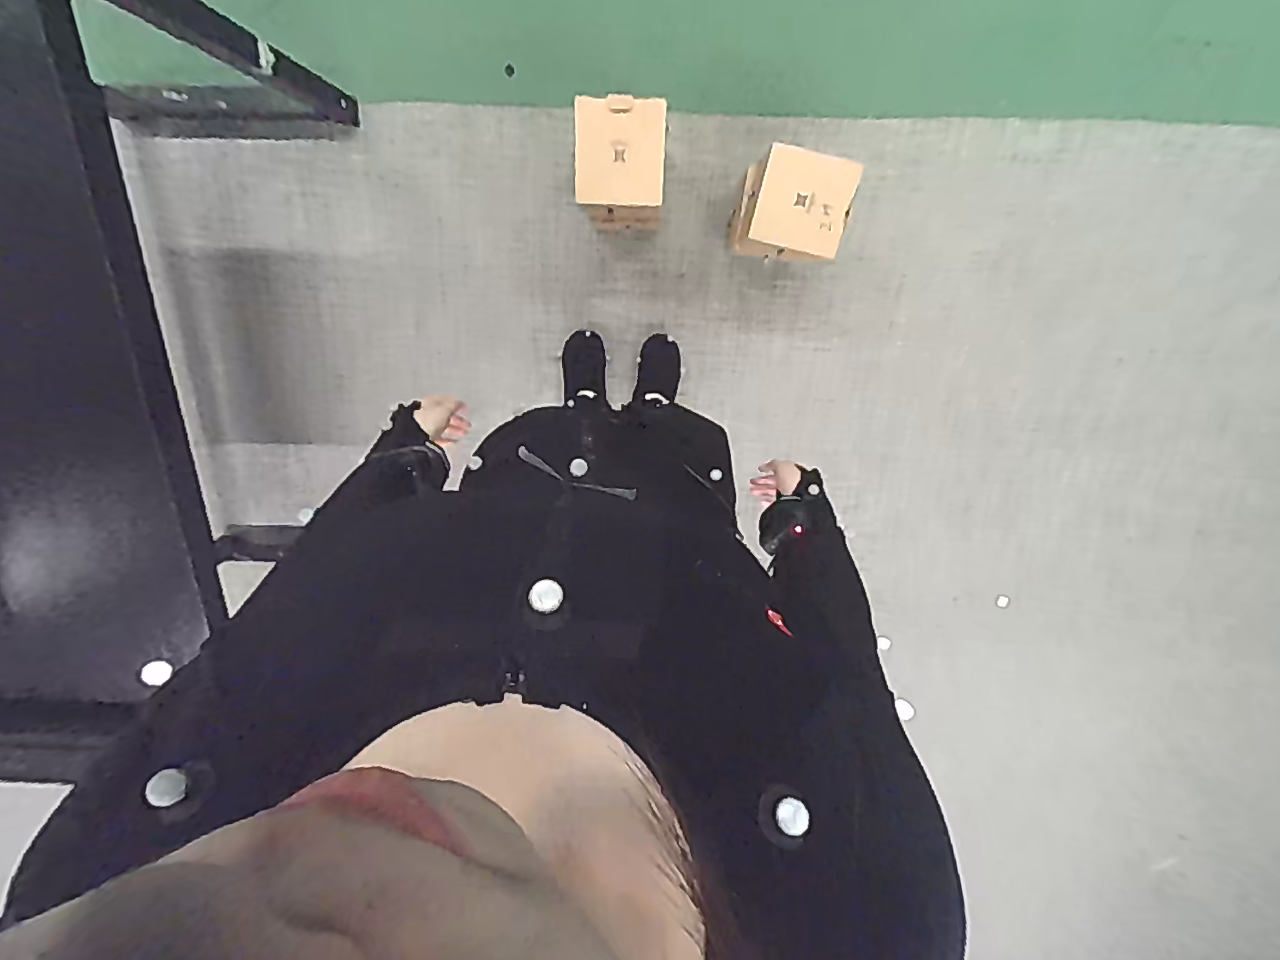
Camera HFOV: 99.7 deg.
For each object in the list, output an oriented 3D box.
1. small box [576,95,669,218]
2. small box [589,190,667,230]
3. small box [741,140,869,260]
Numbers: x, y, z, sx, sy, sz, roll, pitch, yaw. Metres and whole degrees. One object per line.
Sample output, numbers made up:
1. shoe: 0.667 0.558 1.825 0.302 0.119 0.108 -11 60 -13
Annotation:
1. small box: -0.030 -0.615 1.048 0.168 0.176 0.179 2 108 2
2. small box: -0.024 -0.660 1.204 0.168 0.176 0.179 1 109 2
3. small box: 0.309 -0.536 1.060 0.179 0.176 0.168 13 110 -3
